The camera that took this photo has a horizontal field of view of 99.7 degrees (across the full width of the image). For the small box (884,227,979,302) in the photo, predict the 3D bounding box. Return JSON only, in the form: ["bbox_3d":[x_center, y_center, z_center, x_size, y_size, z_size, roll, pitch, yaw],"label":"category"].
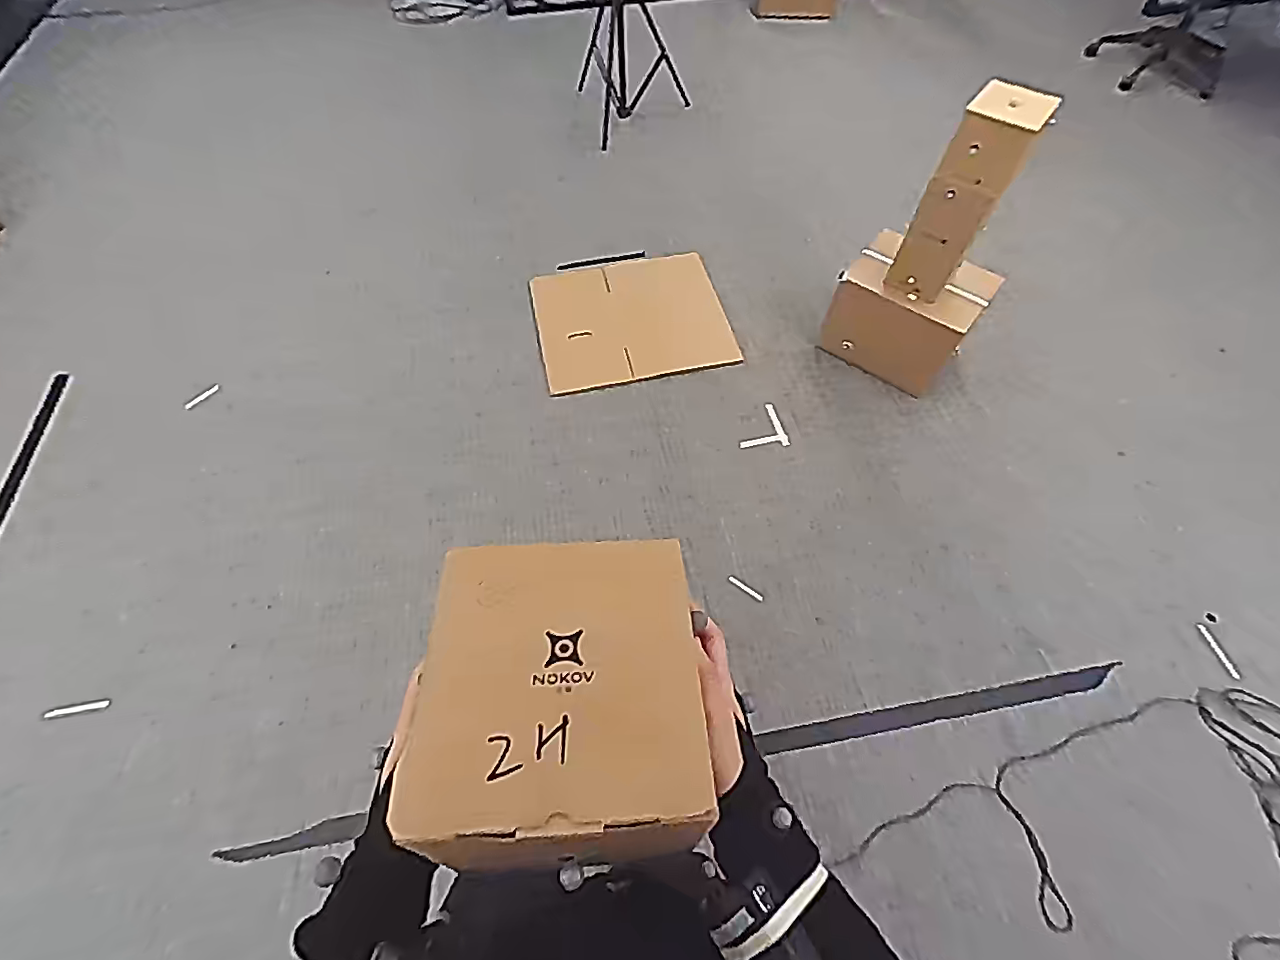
[{"bbox_3d":[0.860,-0.673,1.615,0.168,0.176,0.179,33,66,19],"label":"small box"}]

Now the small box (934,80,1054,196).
[{"bbox_3d":[0.859,-0.836,1.331,0.168,0.176,0.179,33,65,19],"label":"small box"}]

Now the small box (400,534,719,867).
[{"bbox_3d":[-0.047,0.158,0.389,0.168,0.176,0.179,-2,50,-3],"label":"small box"}]

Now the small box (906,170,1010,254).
[{"bbox_3d":[0.860,-0.758,1.474,0.168,0.176,0.179,33,65,19],"label":"small box"}]
